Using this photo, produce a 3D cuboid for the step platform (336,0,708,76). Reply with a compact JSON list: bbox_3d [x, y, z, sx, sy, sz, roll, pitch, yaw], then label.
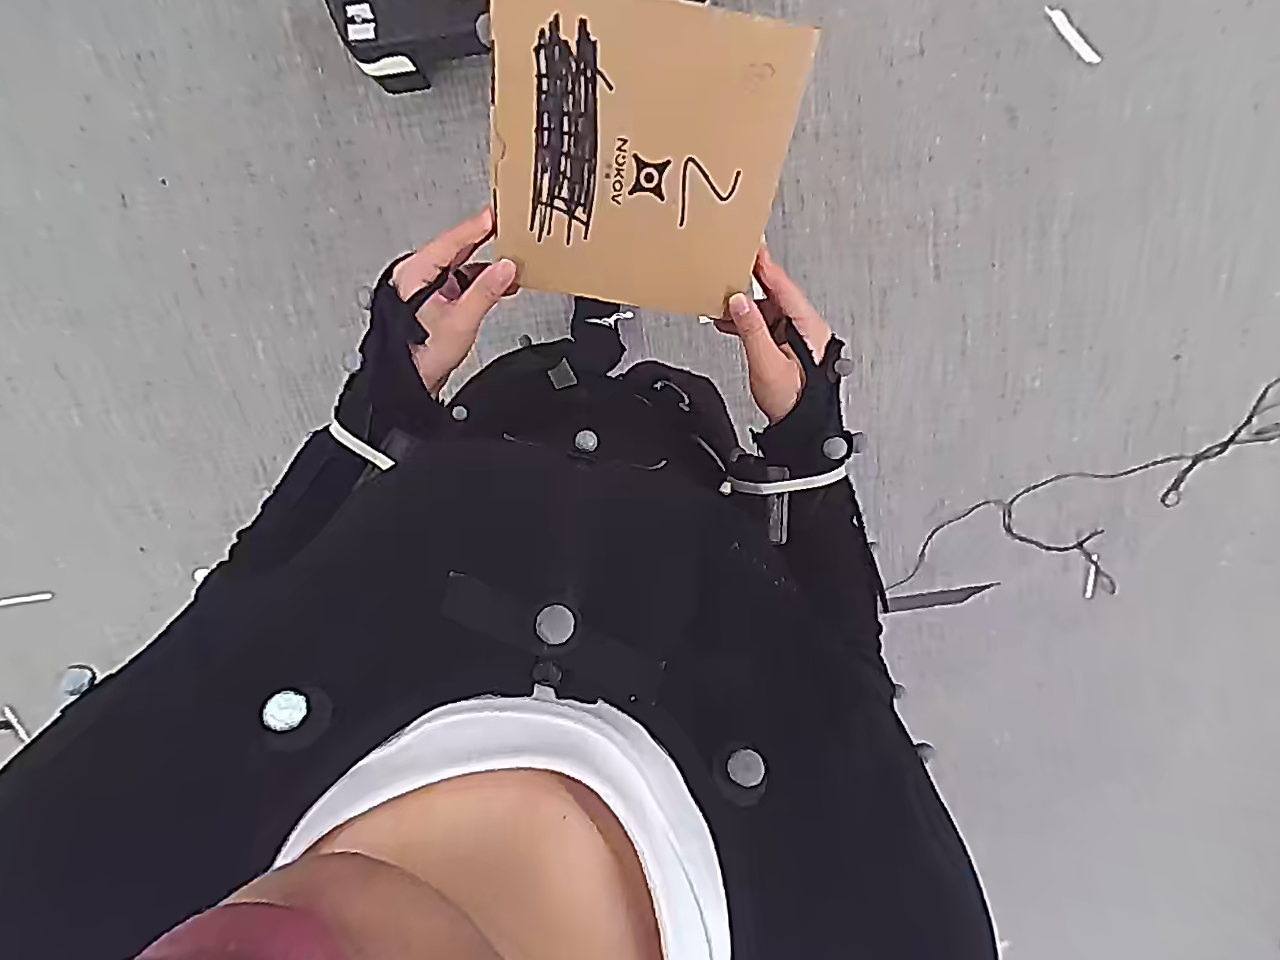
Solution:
[{"bbox_3d":[-0.208,-0.963,0.960,0.684,0.204,0.286,-9,108,1],"label":"step platform"}]
